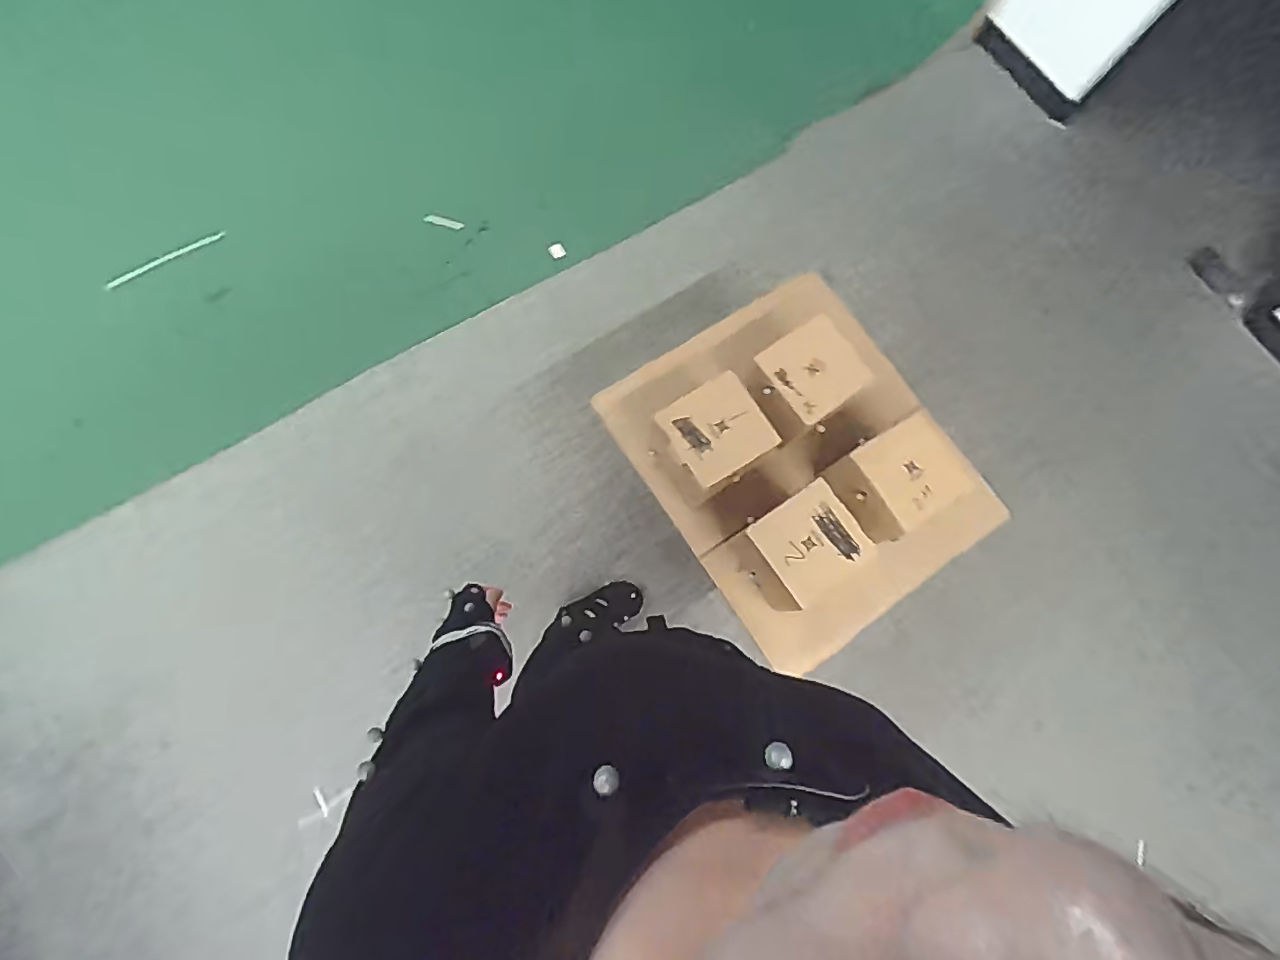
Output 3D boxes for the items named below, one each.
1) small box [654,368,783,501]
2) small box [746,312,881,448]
[{"bbox_3d":[0.139,-0.078,1.037,0.179,0.176,0.168,-31,80,-10],"label":"small box"},{"bbox_3d":[0.327,-0.191,1.072,0.179,0.176,0.168,-33,79,-11],"label":"small box"}]
